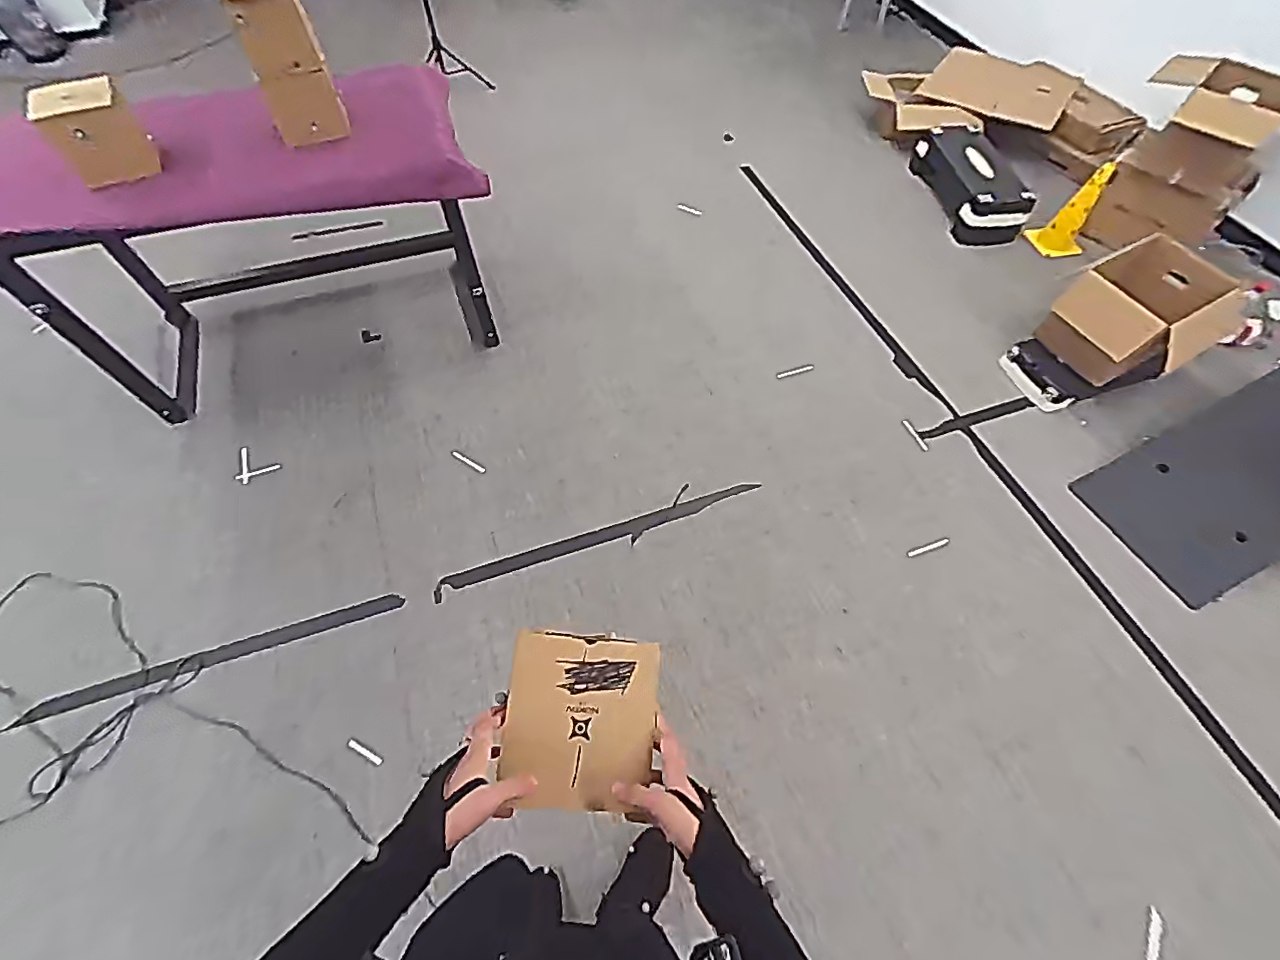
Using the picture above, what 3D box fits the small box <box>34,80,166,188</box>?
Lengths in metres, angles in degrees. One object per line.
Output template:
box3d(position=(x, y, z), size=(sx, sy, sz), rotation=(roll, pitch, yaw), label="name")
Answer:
box3d(position=(-1.371, -0.880, 1.383), size=(0.179, 0.176, 0.168), rotation=(-24, 62, -15), label="small box")

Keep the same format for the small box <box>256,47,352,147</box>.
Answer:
box3d(position=(-0.924, -1.060, 1.501), size=(0.179, 0.176, 0.168), rotation=(-19, 61, -13), label="small box")

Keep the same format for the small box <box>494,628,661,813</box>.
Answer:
box3d(position=(-0.080, 0.278, 0.652), size=(0.168, 0.176, 0.179), rotation=(9, 72, -11), label="small box")
